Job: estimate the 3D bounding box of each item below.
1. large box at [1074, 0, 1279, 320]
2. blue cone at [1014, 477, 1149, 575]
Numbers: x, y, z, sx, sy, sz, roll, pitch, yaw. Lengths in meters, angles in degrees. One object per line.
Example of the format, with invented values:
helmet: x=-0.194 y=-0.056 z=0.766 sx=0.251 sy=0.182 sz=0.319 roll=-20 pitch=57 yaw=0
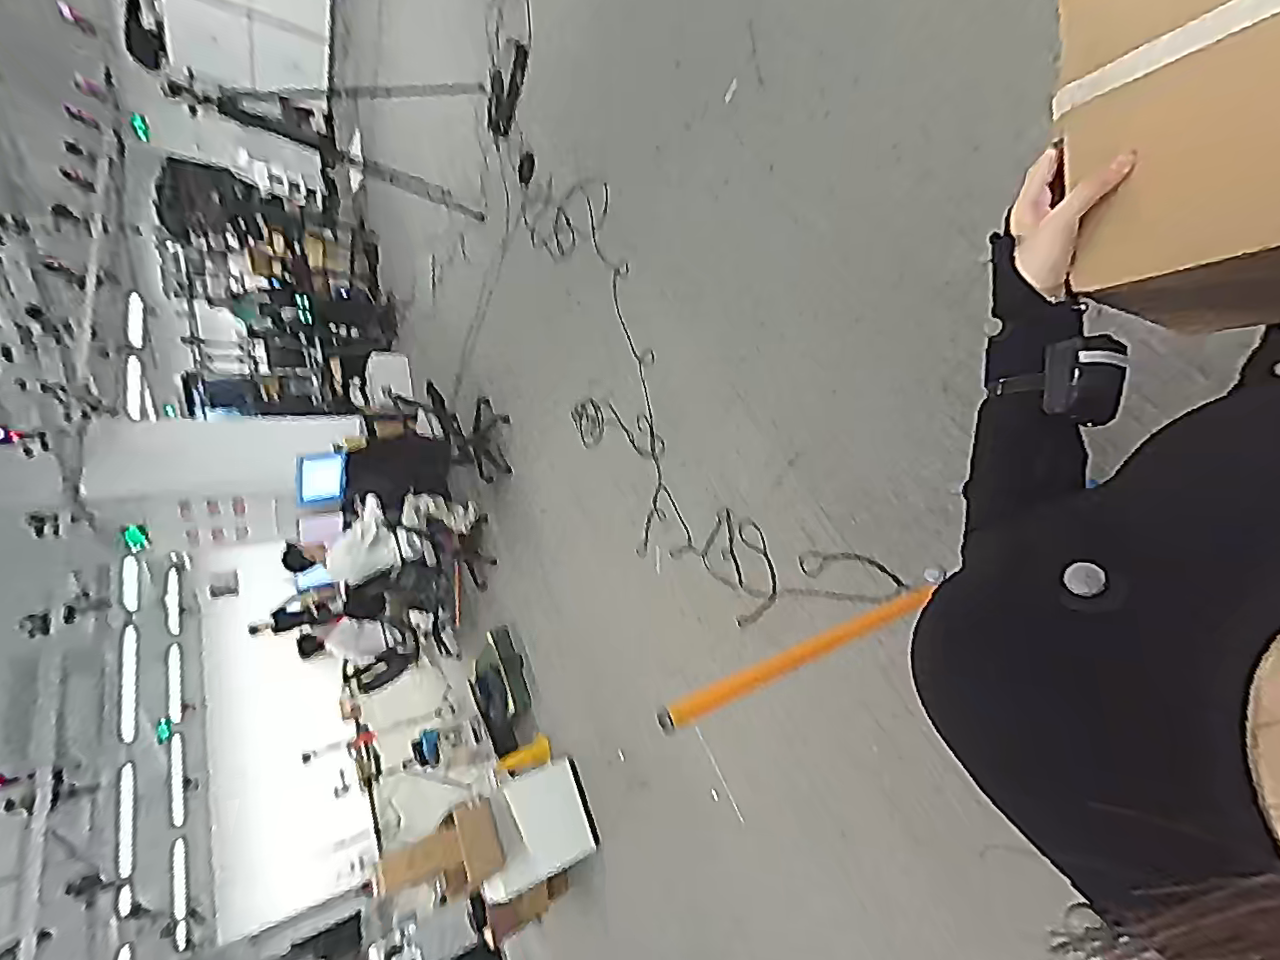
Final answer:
large box: x=0.582 y=-0.325 z=0.353 sx=0.408 sy=0.320 sz=0.320 roll=-1 pitch=92 yaw=55
blue cone: x=0.872 y=0.122 z=1.141 sx=0.192 sy=0.380 sz=0.193 roll=-46 pitch=59 yaw=45
